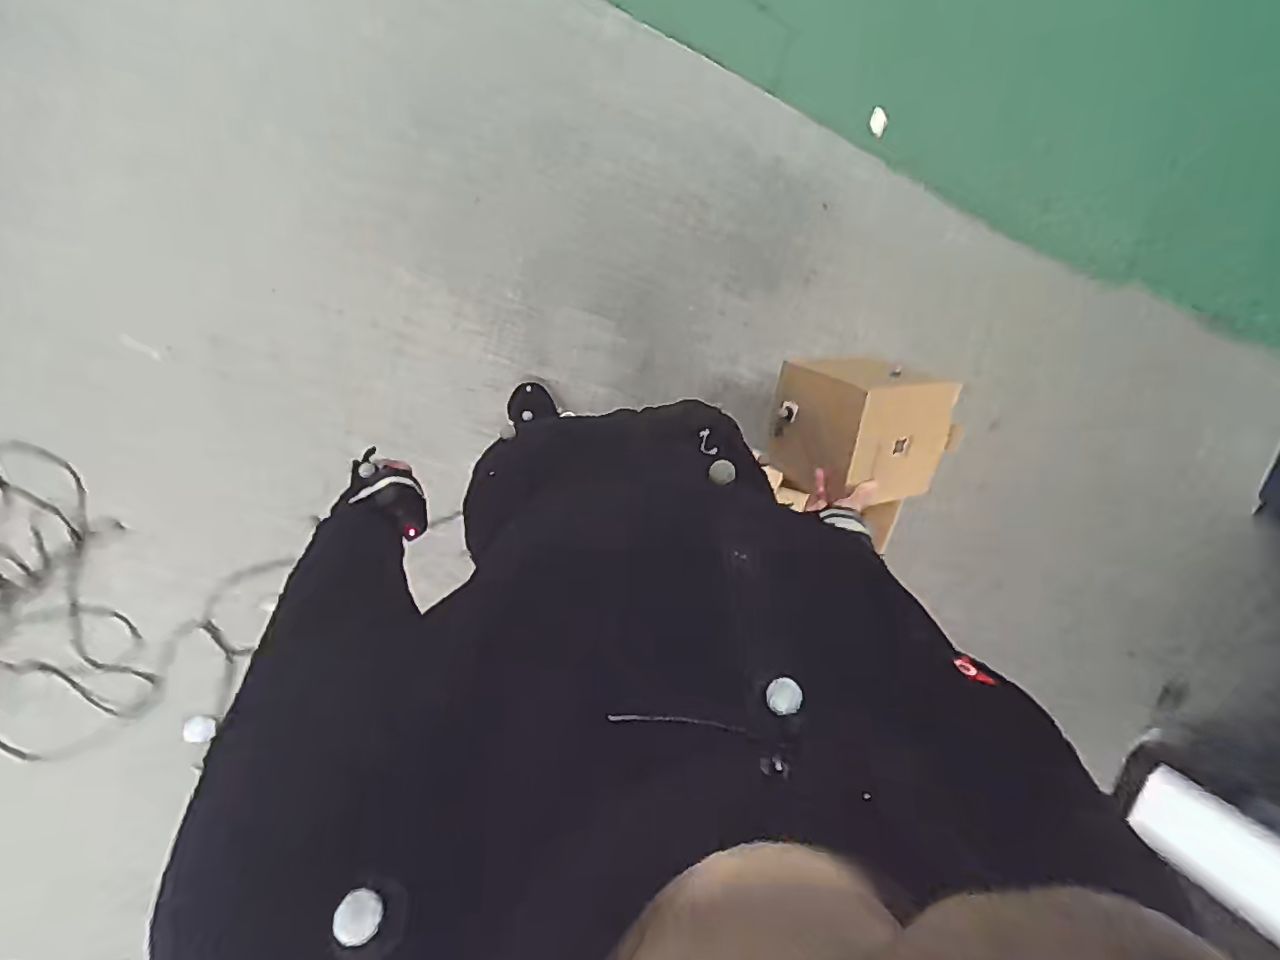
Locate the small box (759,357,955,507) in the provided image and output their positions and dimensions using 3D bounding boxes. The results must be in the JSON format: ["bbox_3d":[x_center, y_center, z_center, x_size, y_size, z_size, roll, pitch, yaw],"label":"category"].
[{"bbox_3d":[0.299,-0.079,0.772,0.179,0.176,0.168,-8,115,-26],"label":"small box"}]
